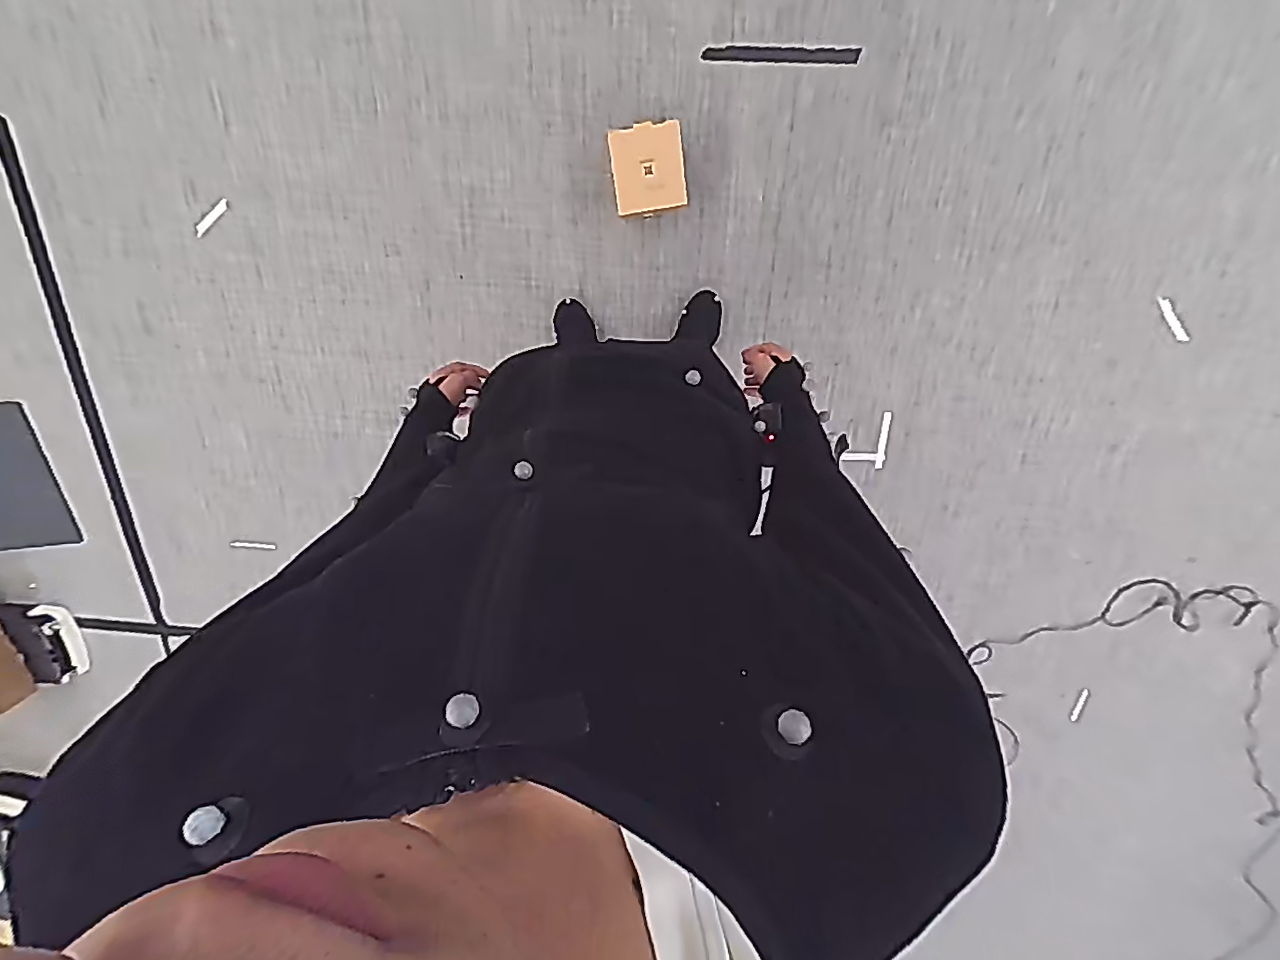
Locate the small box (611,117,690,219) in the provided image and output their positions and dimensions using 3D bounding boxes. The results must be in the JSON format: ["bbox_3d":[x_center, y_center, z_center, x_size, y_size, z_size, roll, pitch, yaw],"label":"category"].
[{"bbox_3d":[0.027,-0.741,1.301,0.168,0.176,0.179,-6,111,6],"label":"small box"}]
